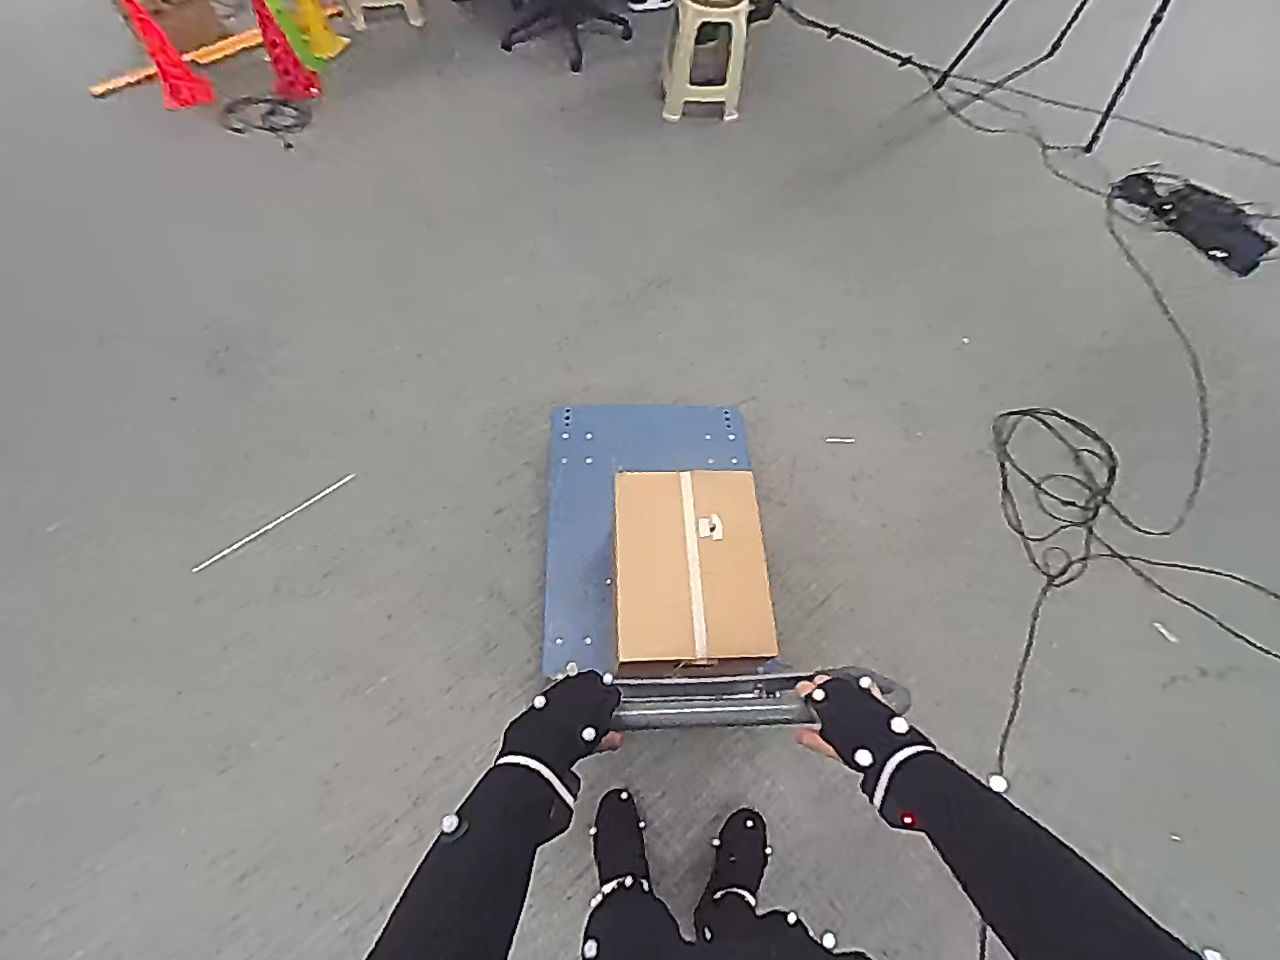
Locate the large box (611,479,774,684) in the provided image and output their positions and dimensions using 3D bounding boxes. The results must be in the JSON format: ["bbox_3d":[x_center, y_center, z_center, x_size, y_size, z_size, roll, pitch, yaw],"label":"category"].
[{"bbox_3d":[0.093,0.246,1.271,0.320,0.320,0.408,0,64,-6],"label":"large box"}]
